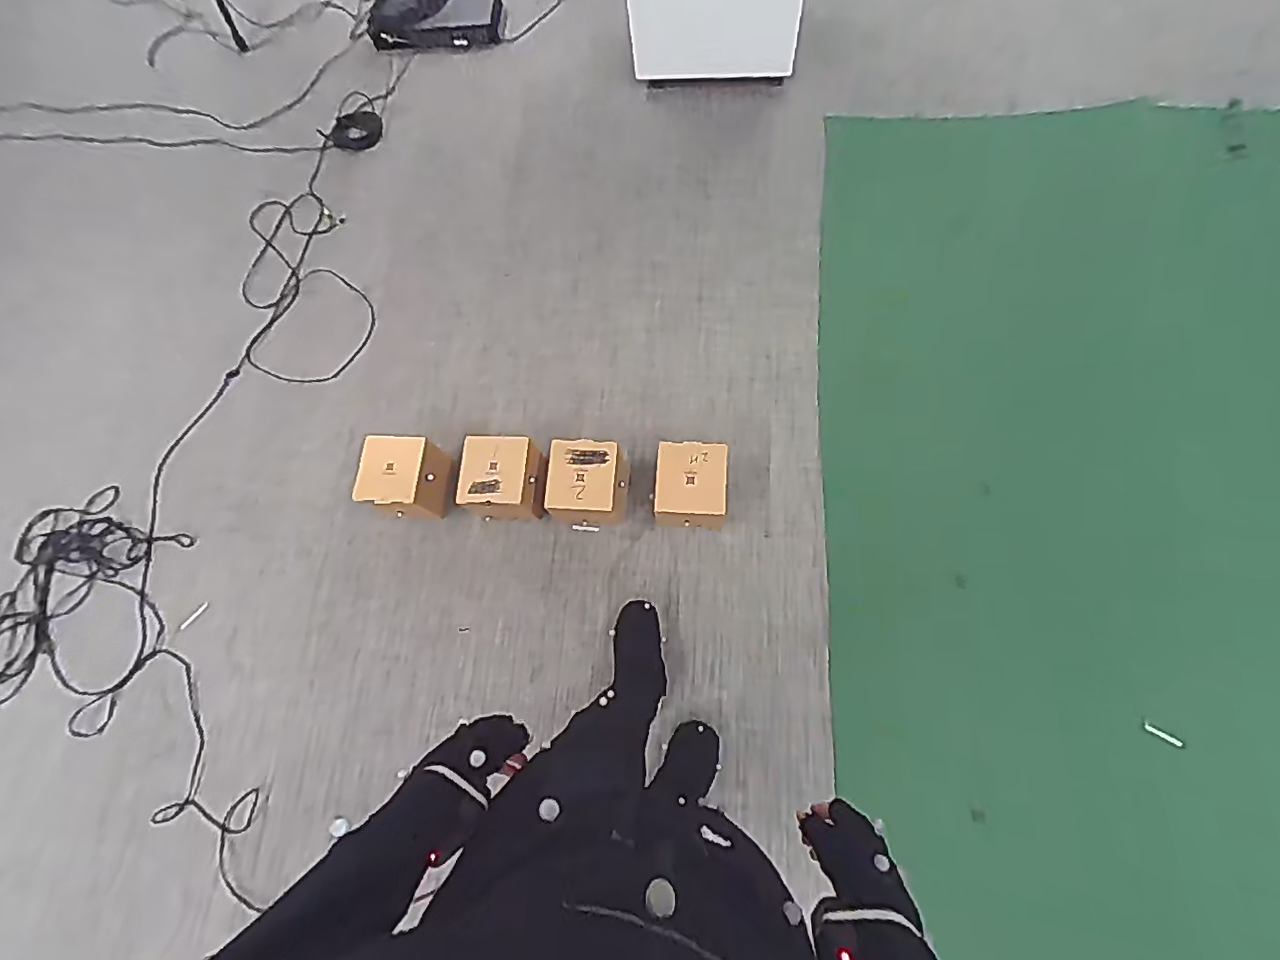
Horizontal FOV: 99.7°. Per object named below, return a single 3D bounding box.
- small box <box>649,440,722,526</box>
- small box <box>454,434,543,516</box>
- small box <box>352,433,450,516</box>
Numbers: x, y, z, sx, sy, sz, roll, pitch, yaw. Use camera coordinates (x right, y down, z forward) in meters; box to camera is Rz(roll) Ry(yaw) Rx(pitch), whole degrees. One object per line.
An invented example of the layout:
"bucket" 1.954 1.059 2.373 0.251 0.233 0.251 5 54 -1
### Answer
"small box" 0.117 0.013 1.353 0.168 0.176 0.179 3 73 6
"small box" -0.360 -0.008 1.407 0.168 0.176 0.179 1 72 7
"small box" -0.625 -0.011 1.440 0.168 0.176 0.179 2 73 7
